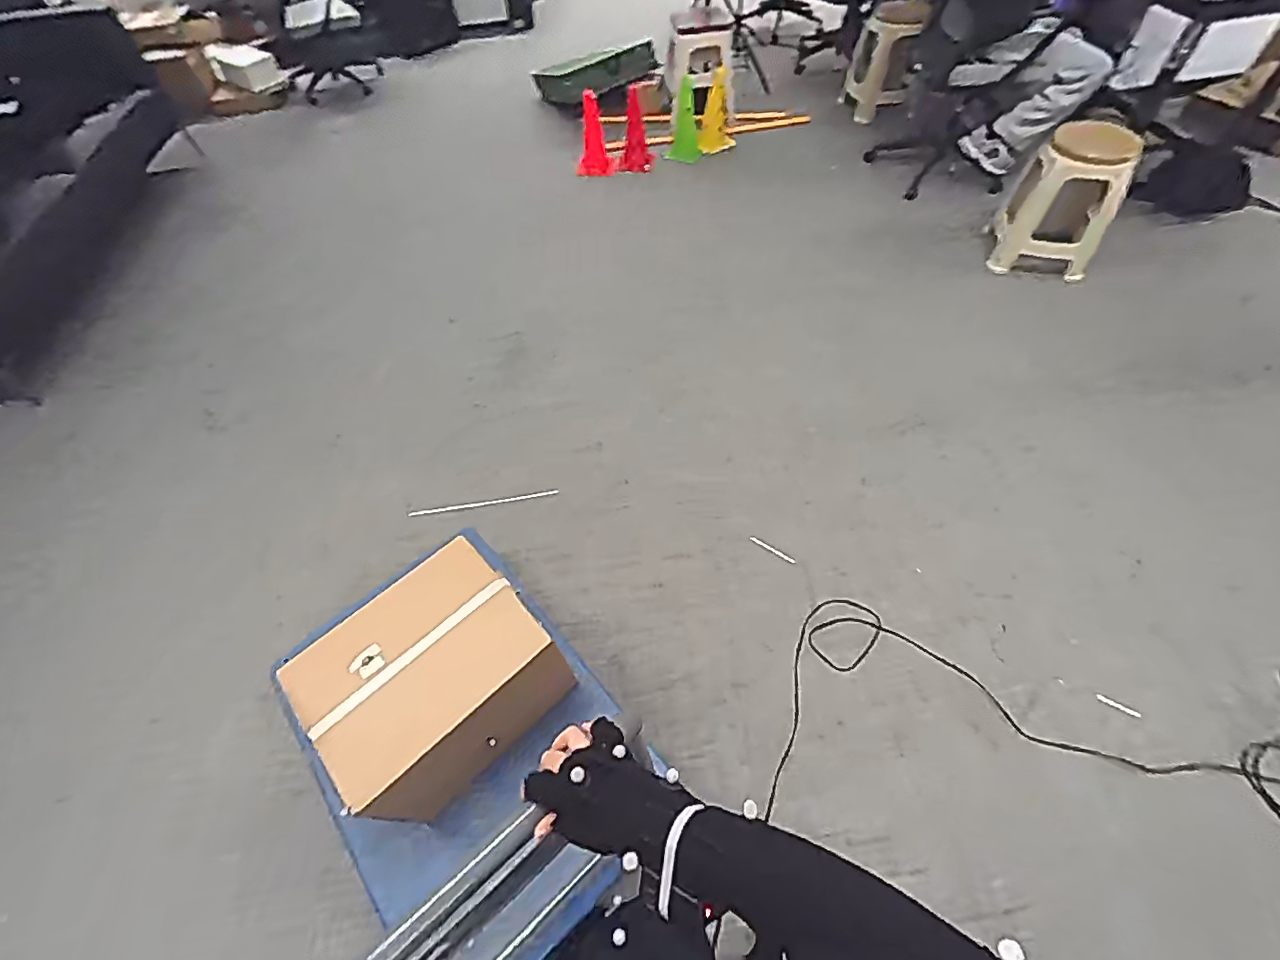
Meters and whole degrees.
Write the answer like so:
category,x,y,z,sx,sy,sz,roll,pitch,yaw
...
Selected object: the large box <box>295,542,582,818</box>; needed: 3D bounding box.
category,x,y,z,sx,sy,sz,roll,pitch,yaw
large box,-0.385,0.415,1.126,0.408,0.320,0.320,-40,61,-19
